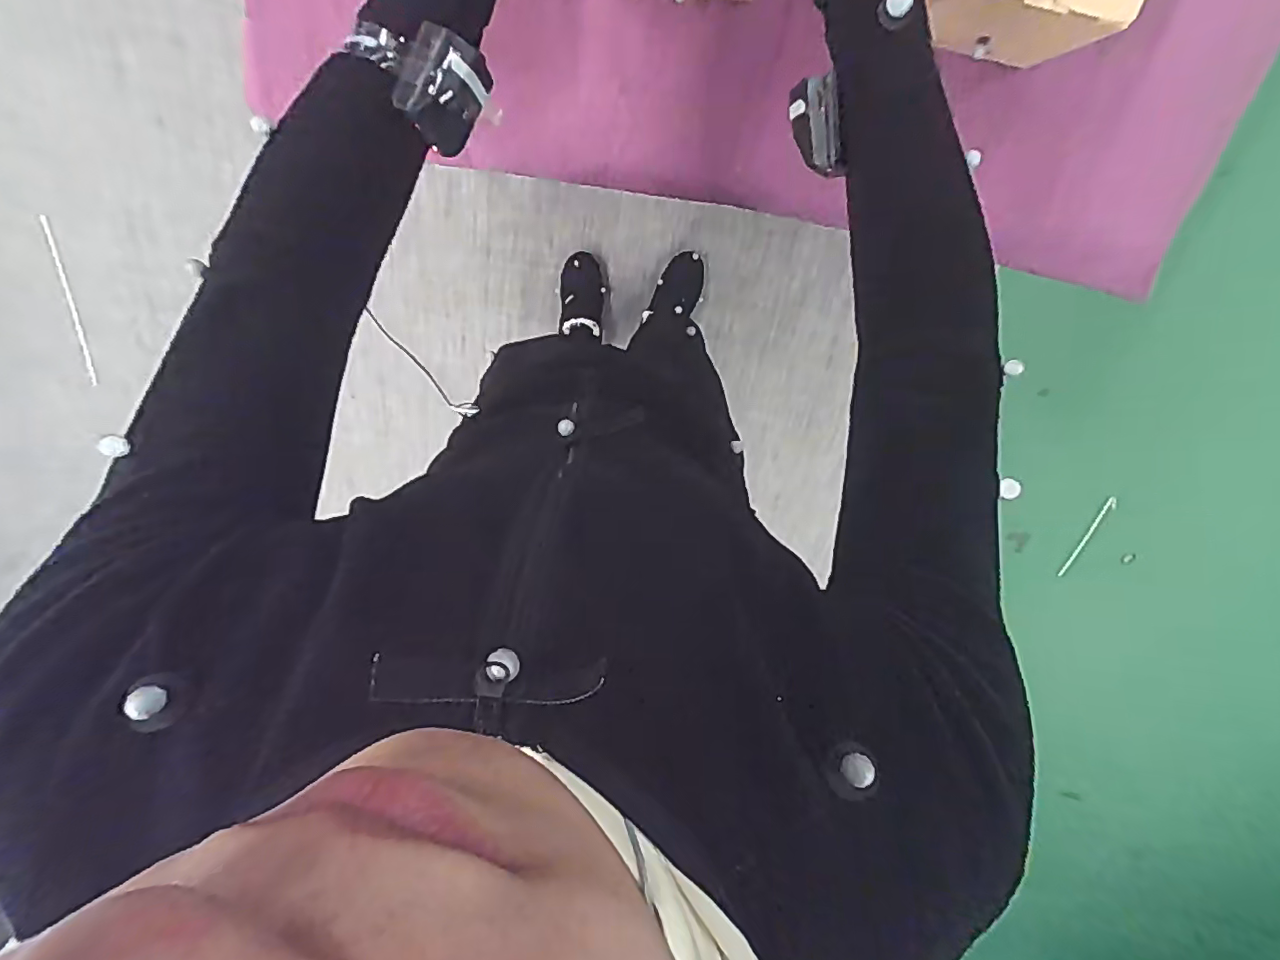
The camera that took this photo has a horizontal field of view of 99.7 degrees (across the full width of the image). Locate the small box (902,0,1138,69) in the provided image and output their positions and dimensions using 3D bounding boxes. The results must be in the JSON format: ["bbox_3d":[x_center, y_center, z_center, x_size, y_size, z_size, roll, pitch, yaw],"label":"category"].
[{"bbox_3d":[0.391,-0.545,0.532,0.168,0.176,0.179,12,117,-3],"label":"small box"}]
